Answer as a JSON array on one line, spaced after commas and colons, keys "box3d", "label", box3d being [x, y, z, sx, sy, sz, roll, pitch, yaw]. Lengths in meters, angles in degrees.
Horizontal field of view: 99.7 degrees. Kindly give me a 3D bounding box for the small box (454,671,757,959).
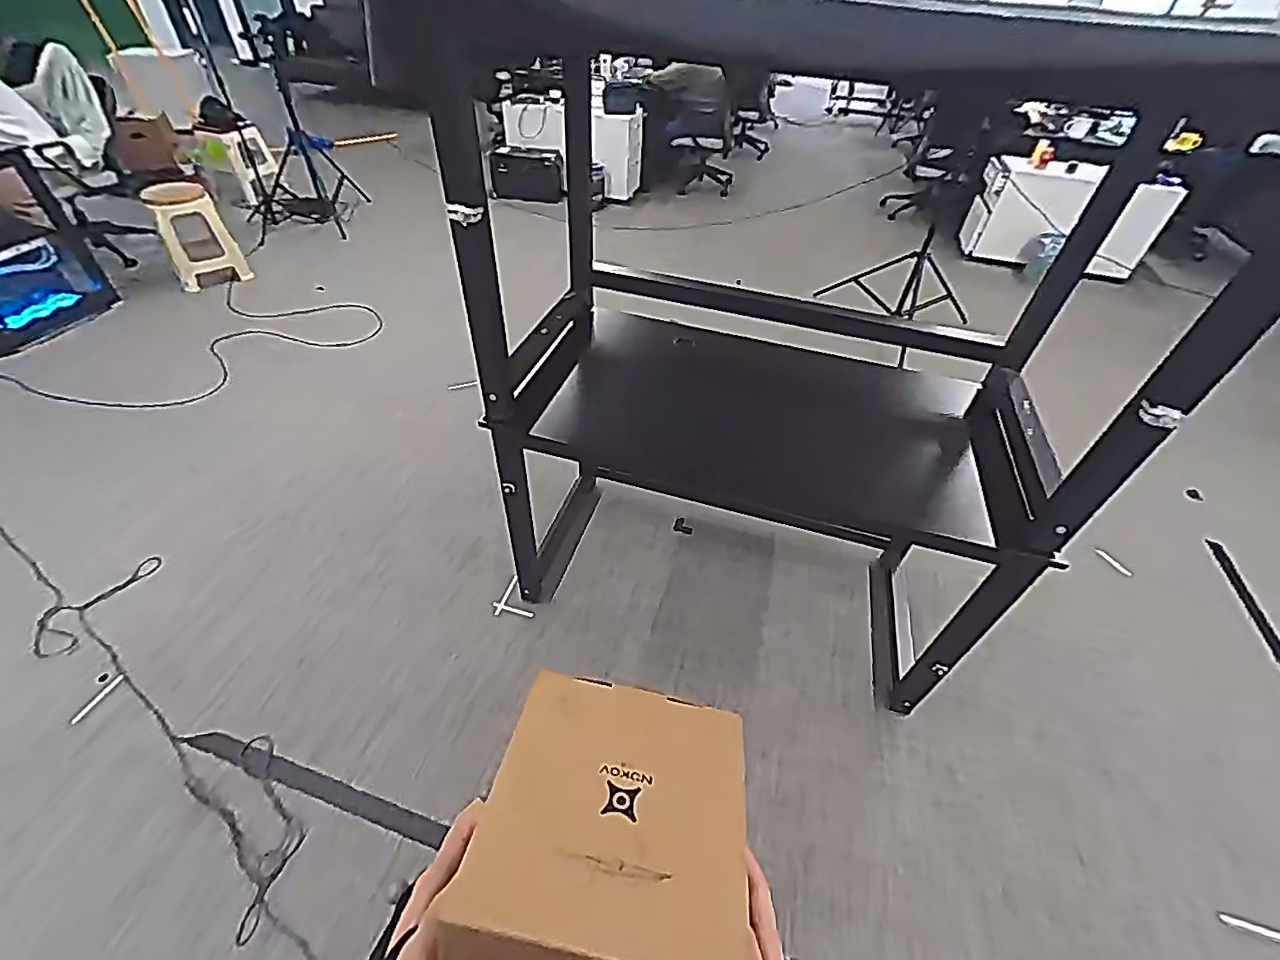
[{"box3d": [-0.021, 0.276, 0.386, 0.168, 0.176, 0.179, 11, 28, 3], "label": "small box"}]
